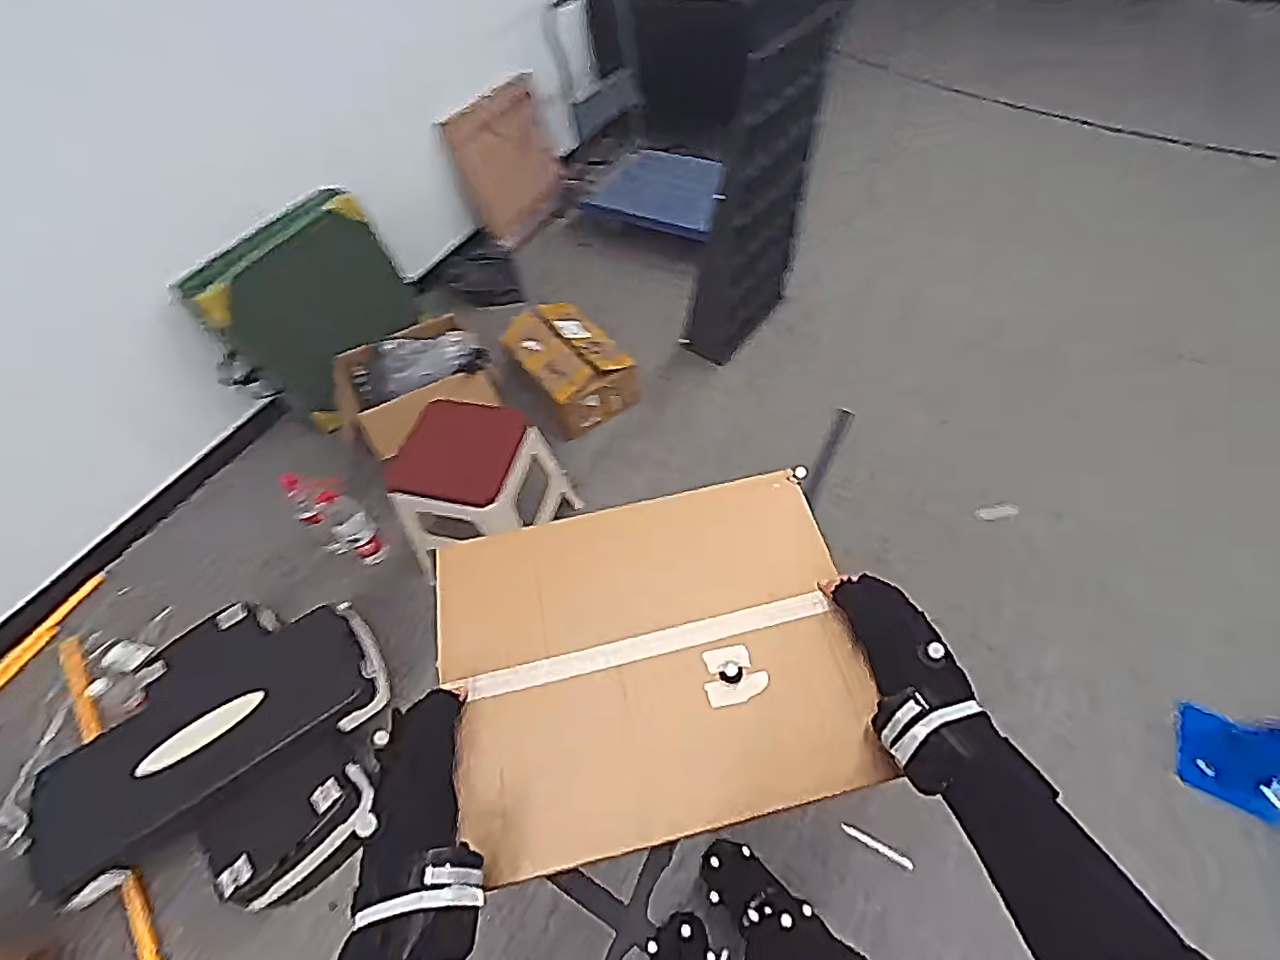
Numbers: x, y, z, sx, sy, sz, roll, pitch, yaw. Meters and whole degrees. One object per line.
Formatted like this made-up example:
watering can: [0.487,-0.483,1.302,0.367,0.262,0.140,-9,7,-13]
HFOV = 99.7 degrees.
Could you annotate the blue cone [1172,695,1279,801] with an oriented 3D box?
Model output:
blue cone: [1.333,0.517,1.115,0.193,0.380,0.192,25,59,20]

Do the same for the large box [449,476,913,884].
large box: [0.020,0.240,0.655,0.408,0.320,0.320,-11,59,-4]
